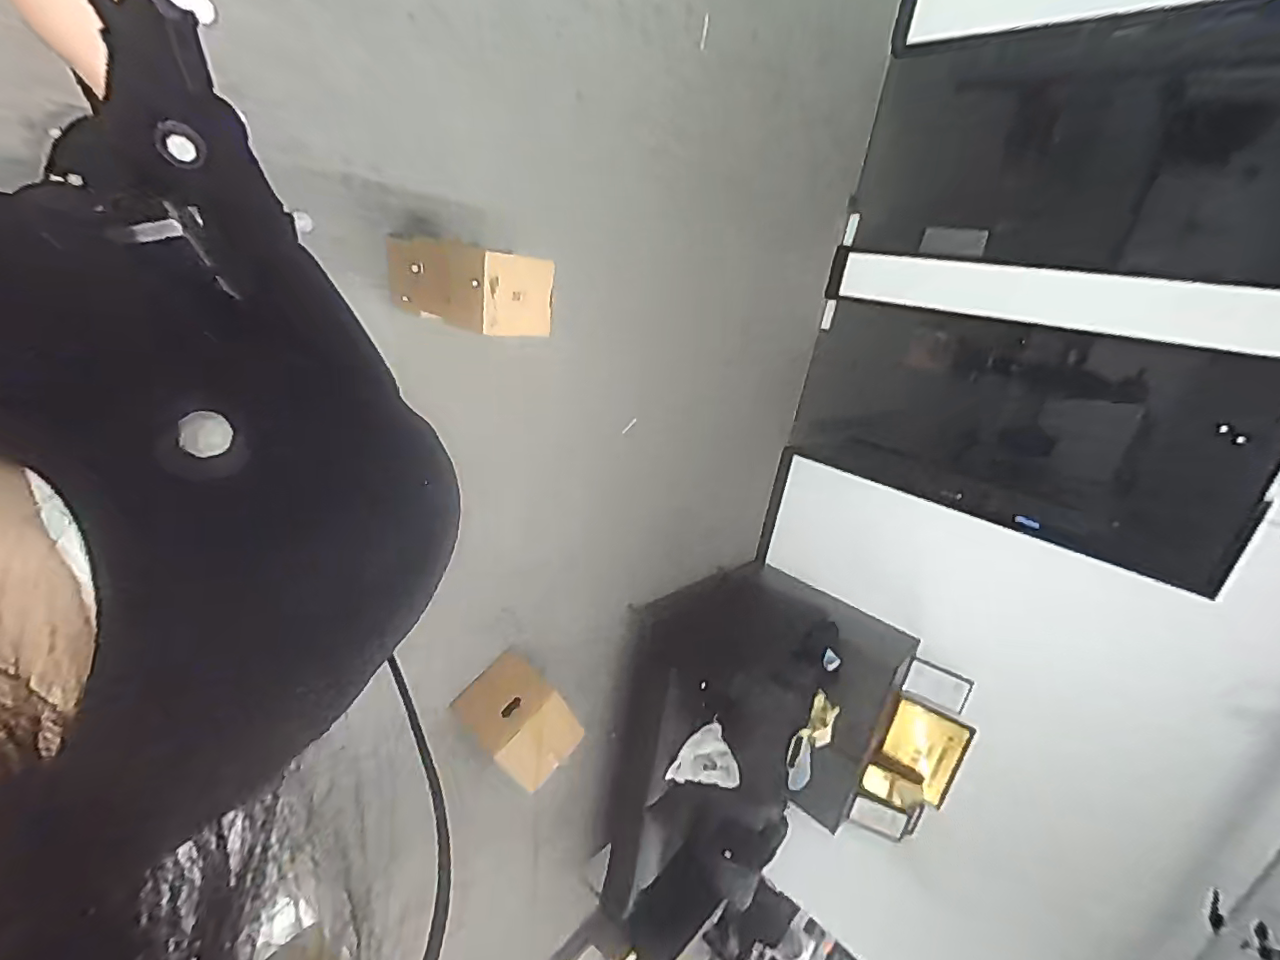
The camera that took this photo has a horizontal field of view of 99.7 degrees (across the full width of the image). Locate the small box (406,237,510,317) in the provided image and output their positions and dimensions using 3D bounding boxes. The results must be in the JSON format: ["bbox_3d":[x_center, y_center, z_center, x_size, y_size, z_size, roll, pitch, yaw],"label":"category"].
[{"bbox_3d":[-0.439,-0.482,1.301,0.179,0.176,0.168,-13,119,-45],"label":"small box"}]

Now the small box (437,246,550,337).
[{"bbox_3d":[-0.325,-0.418,1.201,0.179,0.176,0.168,-14,120,-47],"label":"small box"}]
